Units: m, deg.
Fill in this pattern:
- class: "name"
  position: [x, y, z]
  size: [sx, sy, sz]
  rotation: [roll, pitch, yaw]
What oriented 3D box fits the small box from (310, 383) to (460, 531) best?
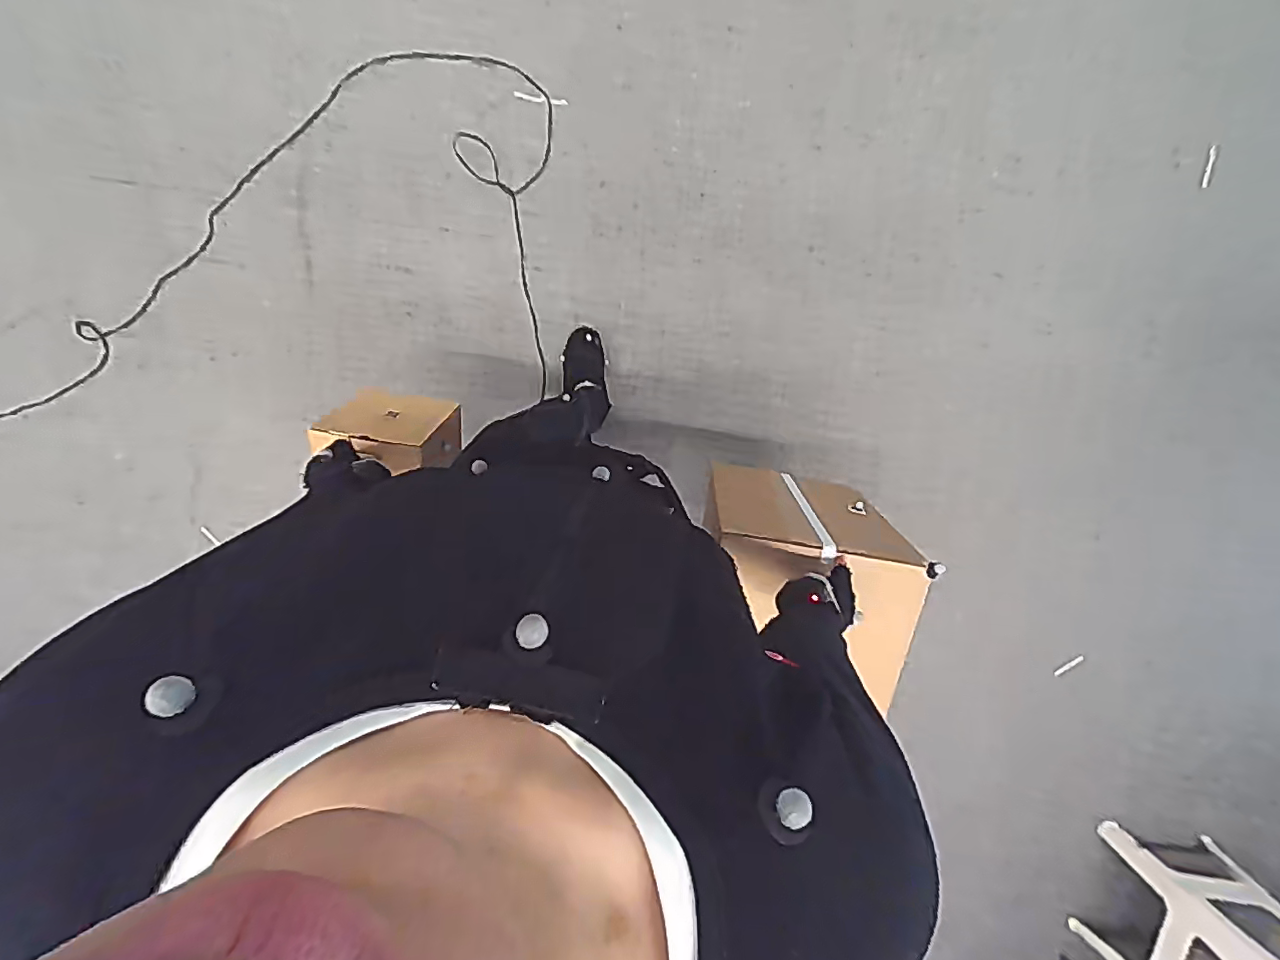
- class: "small box"
  position: [-0.408, -0.040, 0.896]
  size: [0.168, 0.179, 0.176]
  rotation: [8, 121, -2]
